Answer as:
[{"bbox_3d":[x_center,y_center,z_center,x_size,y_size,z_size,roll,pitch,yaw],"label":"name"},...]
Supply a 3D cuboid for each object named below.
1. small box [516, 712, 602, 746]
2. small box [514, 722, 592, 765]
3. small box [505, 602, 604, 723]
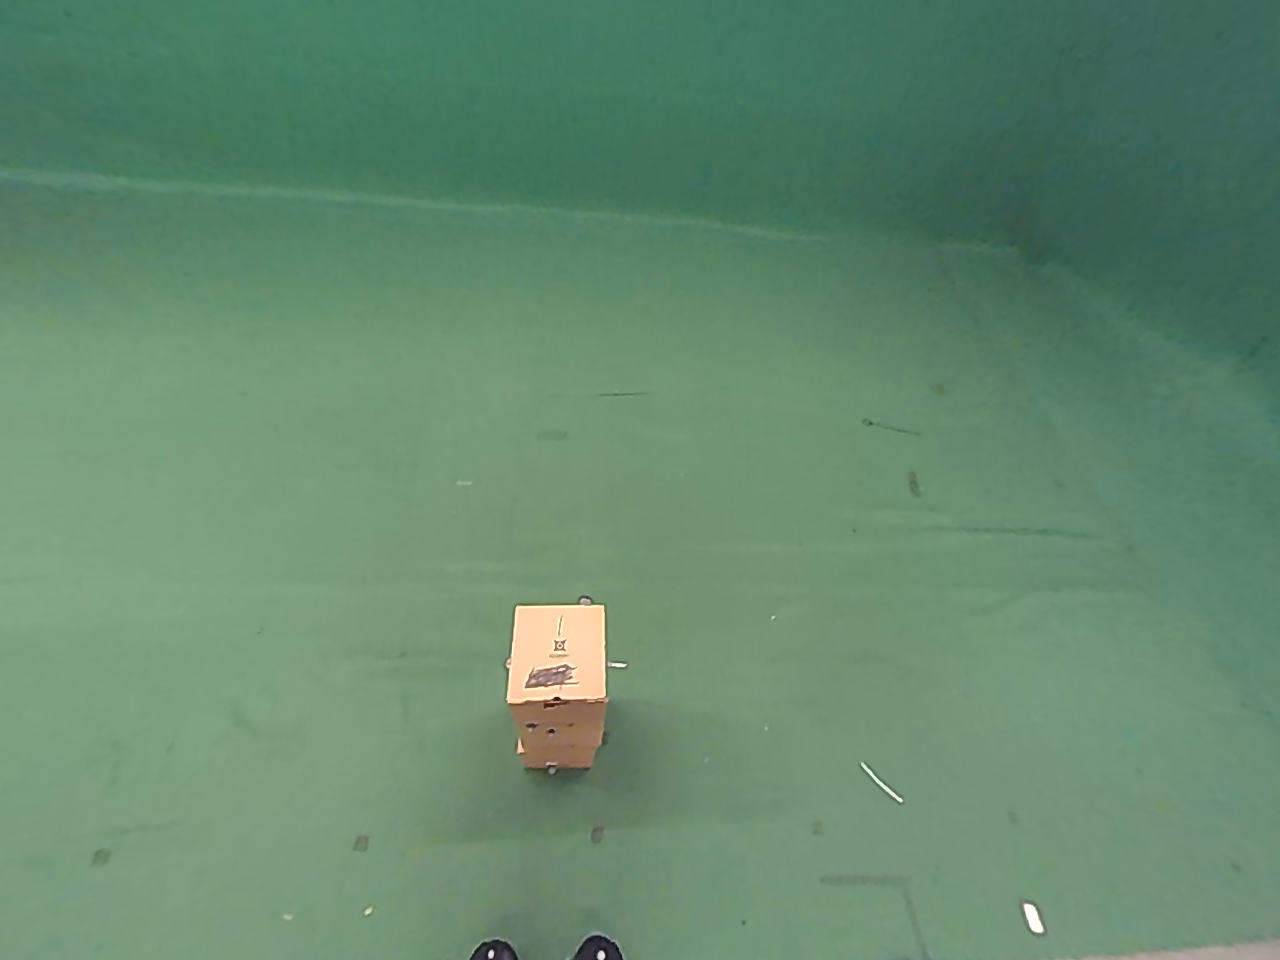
[{"bbox_3d":[-0.165,0.447,1.140,0.168,0.176,0.179,1,50,-6],"label":"small box"},{"bbox_3d":[-0.190,0.542,1.248,0.168,0.176,0.179,2,52,-3],"label":"small box"},{"bbox_3d":[-0.152,0.345,1.011,0.168,0.176,0.179,1,50,-6],"label":"small box"}]
